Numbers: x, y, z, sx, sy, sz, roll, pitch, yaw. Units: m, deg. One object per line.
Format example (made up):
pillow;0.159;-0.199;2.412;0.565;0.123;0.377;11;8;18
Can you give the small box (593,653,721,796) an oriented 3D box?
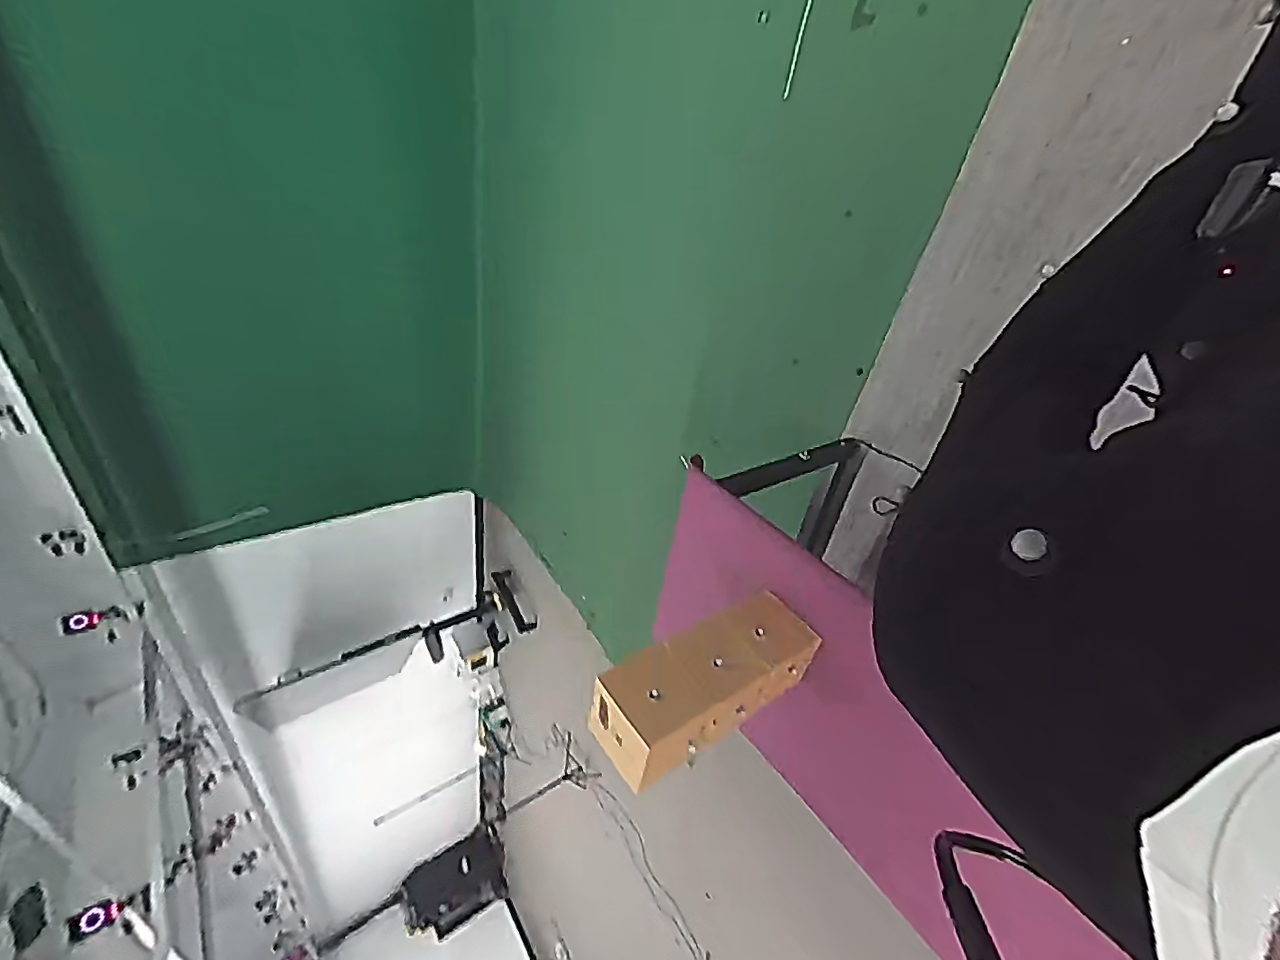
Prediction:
small box;0.030;0.473;1.079;0.179;0.176;0.168;39;133;38

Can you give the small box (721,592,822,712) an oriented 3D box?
small box;0.291;0.392;1.262;0.179;0.176;0.168;43;135;37

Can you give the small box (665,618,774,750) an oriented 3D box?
small box;0.161;0.432;1.171;0.179;0.176;0.168;40;133;37
